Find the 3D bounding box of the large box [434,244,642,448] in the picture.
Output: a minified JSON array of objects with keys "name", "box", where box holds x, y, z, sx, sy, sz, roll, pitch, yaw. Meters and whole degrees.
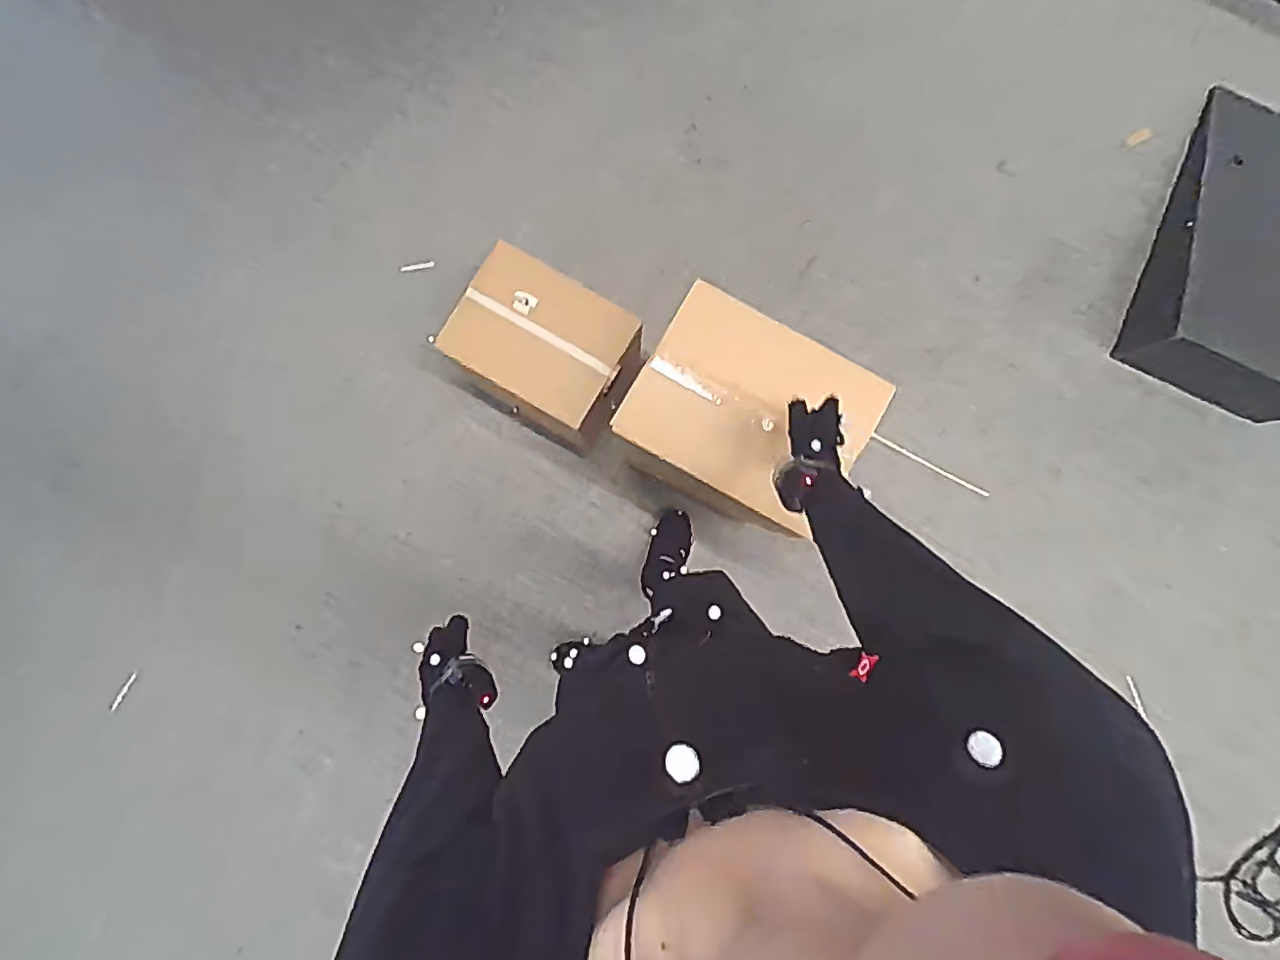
[{"name":"large box","box":[-0.238,-0.325,1.417,0.408,0.320,0.320,30,84,3]}]
